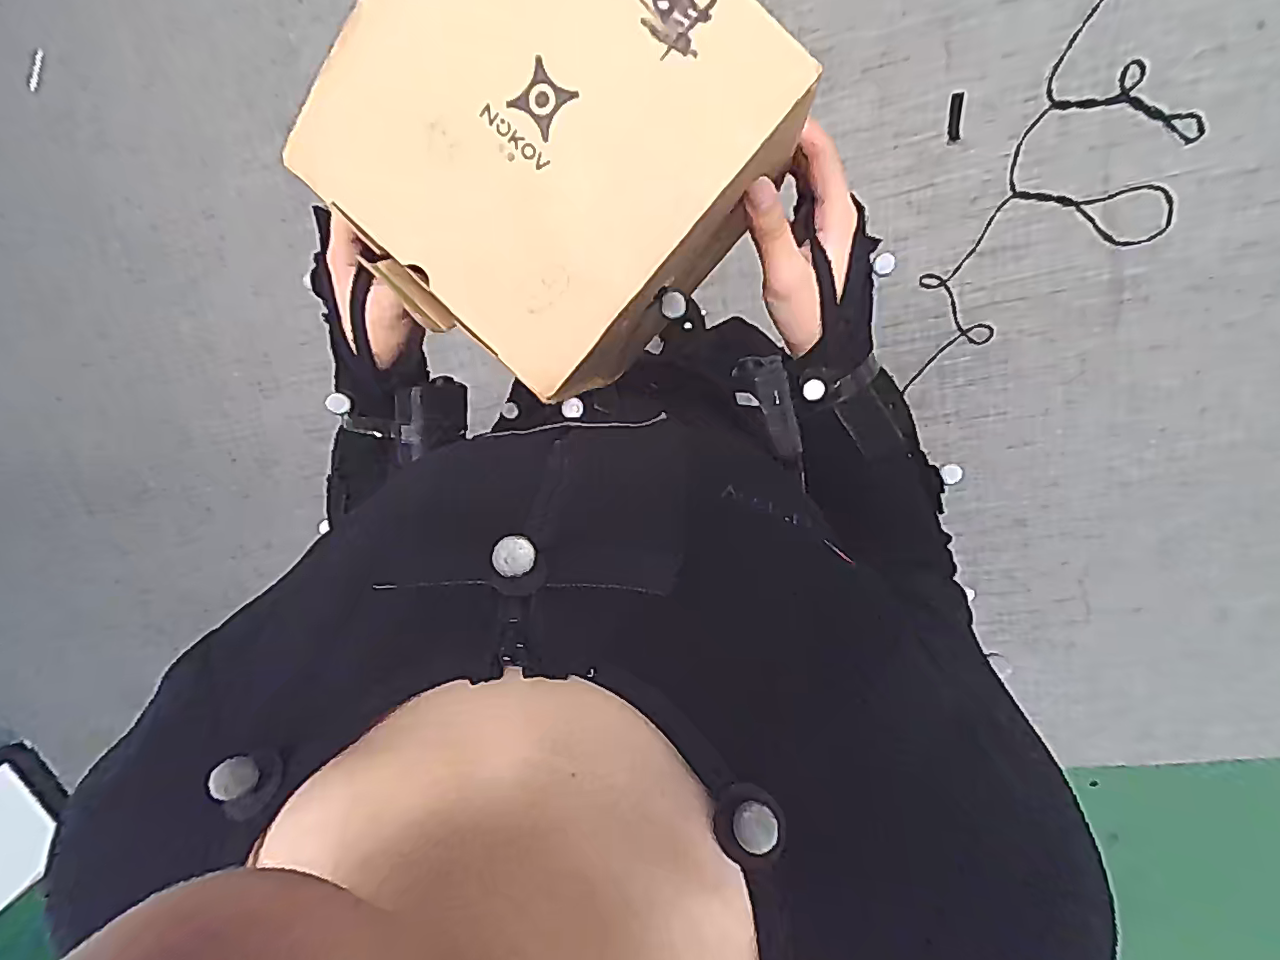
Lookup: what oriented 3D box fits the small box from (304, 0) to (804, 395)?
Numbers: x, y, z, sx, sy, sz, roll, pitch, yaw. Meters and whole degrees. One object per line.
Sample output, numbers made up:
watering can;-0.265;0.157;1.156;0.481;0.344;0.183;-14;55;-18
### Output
small box;-0.033;-0.173;0.313;0.168;0.176;0.179;42;106;-4
